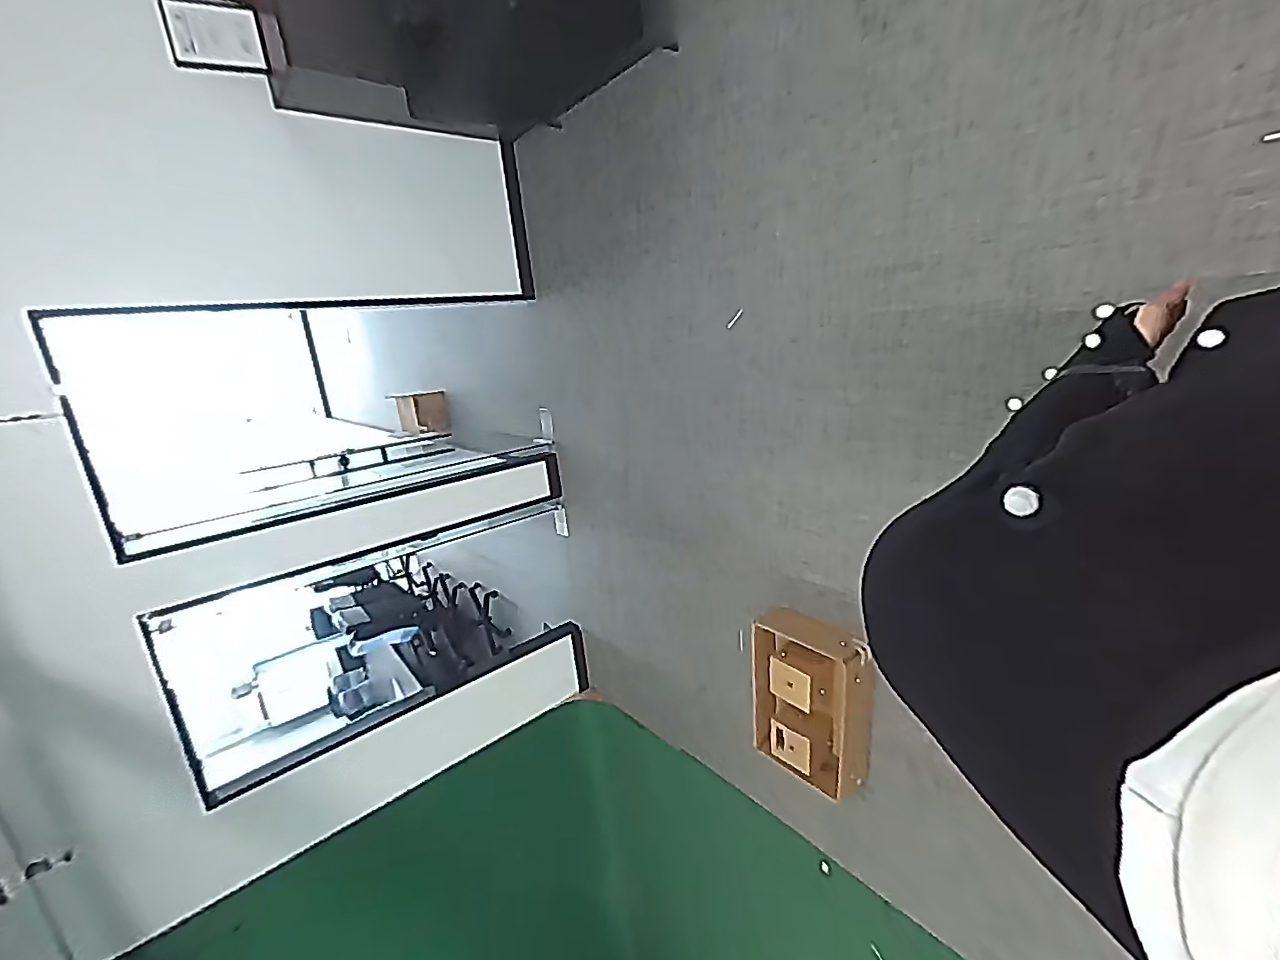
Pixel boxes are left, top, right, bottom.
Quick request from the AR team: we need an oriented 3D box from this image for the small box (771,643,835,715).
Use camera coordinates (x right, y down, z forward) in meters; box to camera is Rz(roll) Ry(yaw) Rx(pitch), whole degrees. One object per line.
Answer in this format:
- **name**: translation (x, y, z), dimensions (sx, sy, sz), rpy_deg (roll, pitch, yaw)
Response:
- **small box**: translation (0.619, 0.745, 2.050), dimensions (0.179, 0.176, 0.168), rpy_deg (16, 115, 48)
